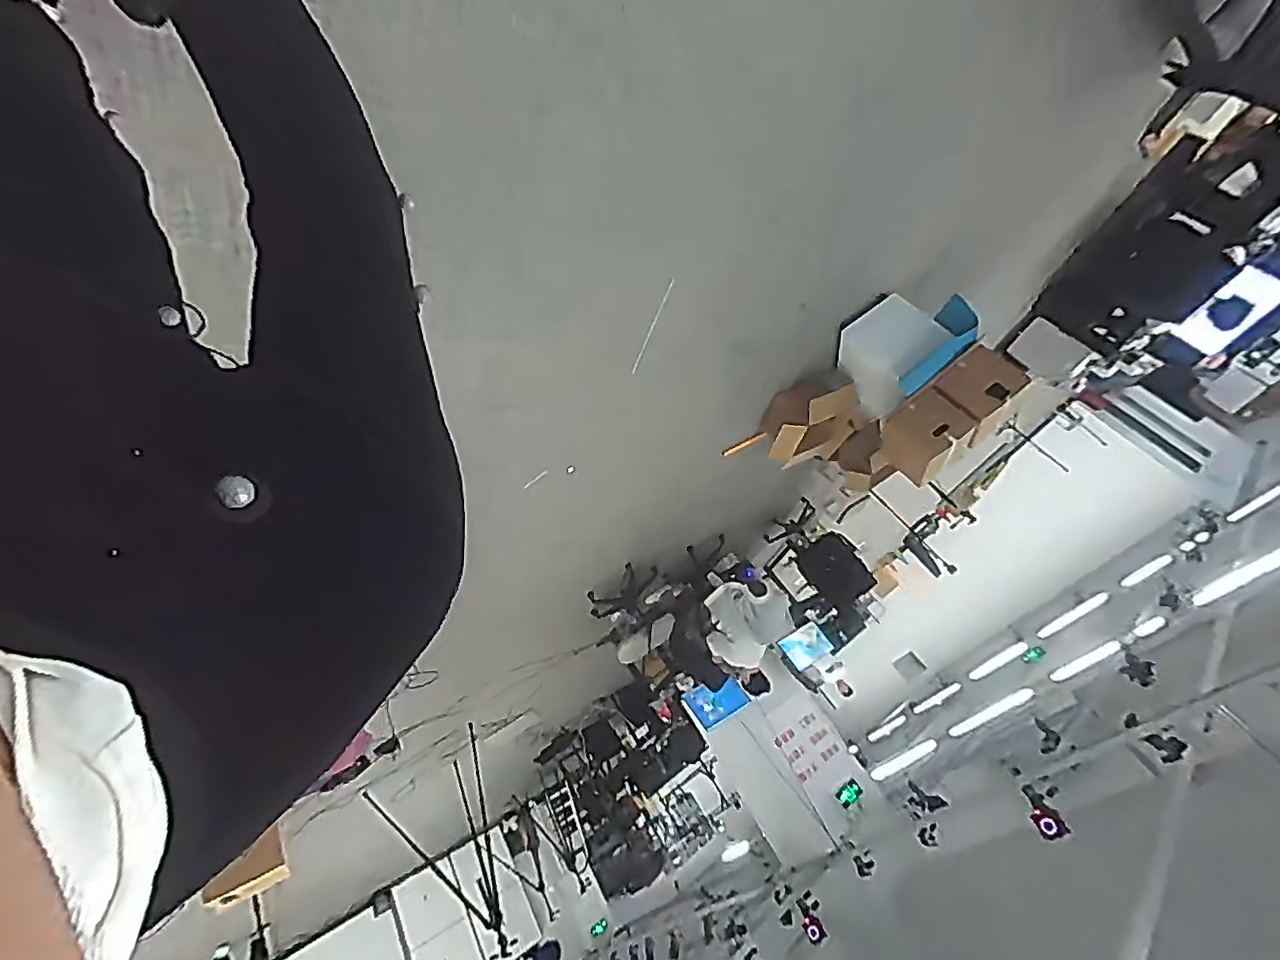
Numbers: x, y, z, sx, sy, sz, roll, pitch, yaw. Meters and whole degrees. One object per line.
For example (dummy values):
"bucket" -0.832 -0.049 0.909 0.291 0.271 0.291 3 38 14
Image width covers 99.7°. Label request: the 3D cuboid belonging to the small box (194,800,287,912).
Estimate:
"small box" -1.083 1.014 1.466 0.179 0.176 0.168 -15 146 -38
